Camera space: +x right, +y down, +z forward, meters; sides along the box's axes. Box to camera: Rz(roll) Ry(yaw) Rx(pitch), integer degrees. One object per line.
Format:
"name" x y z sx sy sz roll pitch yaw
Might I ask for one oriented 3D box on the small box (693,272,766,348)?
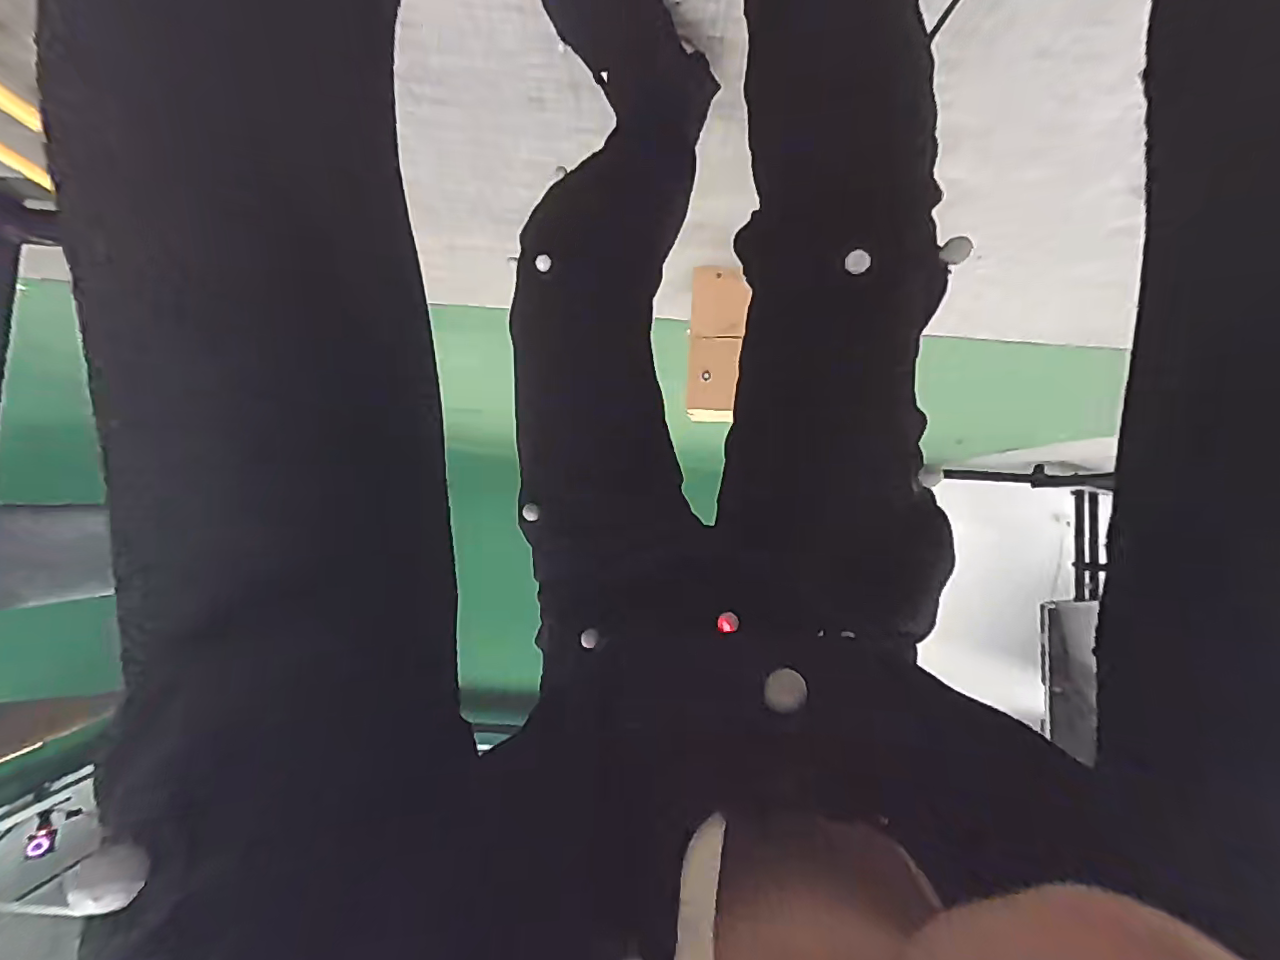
"small box" 0.214 -0.390 1.307 0.168 0.176 0.179 3 177 8

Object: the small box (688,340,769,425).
"small box" 0.211 -0.229 1.286 0.179 0.176 0.168 2 177 11
